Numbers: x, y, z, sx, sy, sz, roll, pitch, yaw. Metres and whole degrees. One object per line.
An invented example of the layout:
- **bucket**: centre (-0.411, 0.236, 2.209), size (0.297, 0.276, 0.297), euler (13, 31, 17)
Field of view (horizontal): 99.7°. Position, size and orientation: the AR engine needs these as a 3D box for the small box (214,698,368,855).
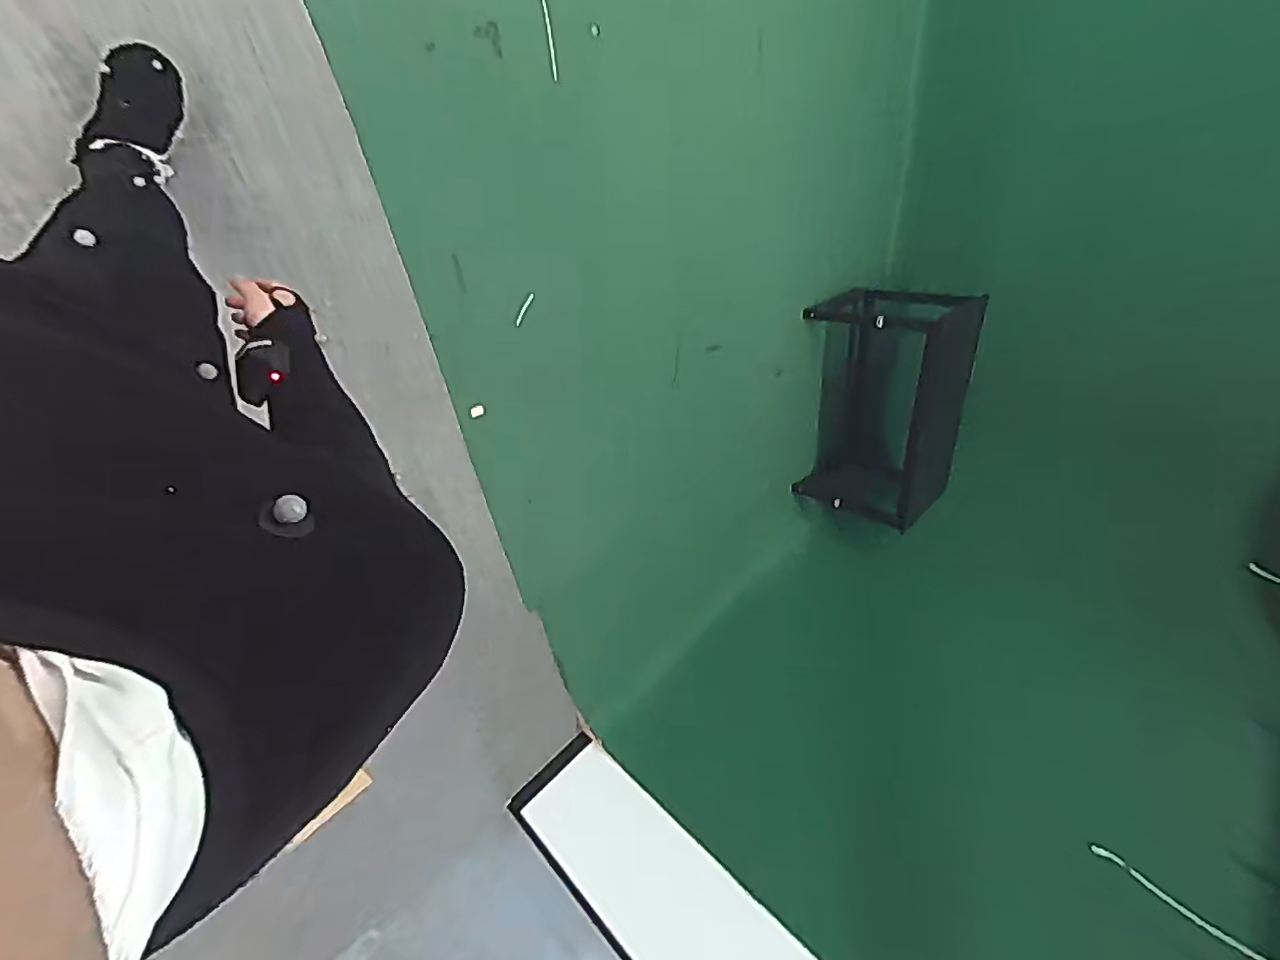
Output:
- **small box**: centre (-0.664, 0.551, 1.029), size (0.168, 0.176, 0.179), euler (-36, 133, -31)
